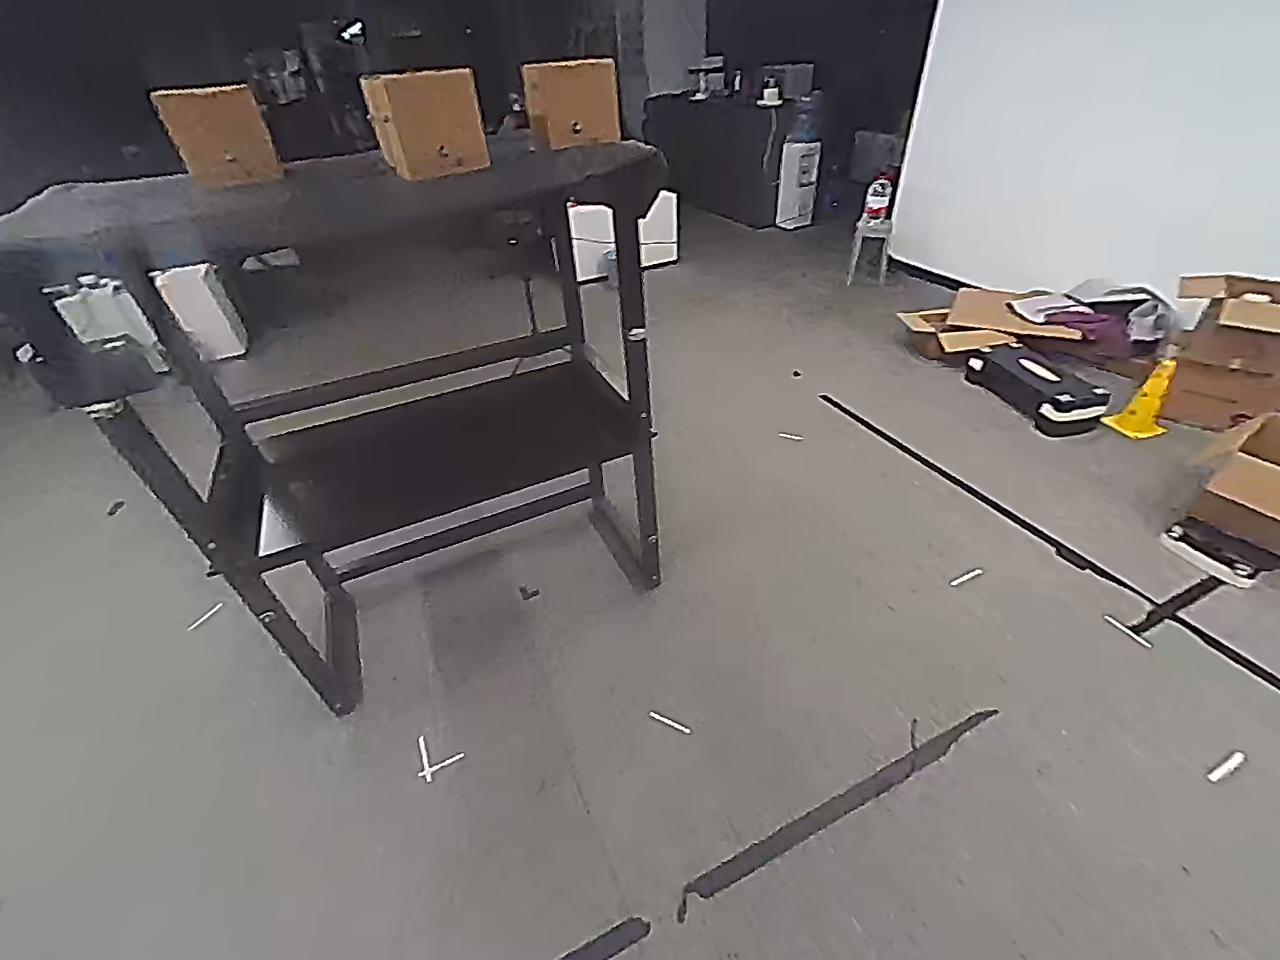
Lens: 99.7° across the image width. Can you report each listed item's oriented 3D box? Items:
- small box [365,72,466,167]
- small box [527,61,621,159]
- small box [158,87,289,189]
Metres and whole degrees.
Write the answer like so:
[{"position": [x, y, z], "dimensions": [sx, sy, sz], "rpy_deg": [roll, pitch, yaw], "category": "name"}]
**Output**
[{"position": [-0.520, -0.840, 1.262], "dimensions": [0.168, 0.176, 0.179], "rpy_deg": [-20, 40, -19], "category": "small box"}, {"position": [-0.149, -0.837, 1.225], "dimensions": [0.168, 0.176, 0.179], "rpy_deg": [-16, 40, -14], "category": "small box"}, {"position": [-0.889, -0.742, 1.172], "dimensions": [0.168, 0.176, 0.179], "rpy_deg": [-21, 43, -20], "category": "small box"}]
